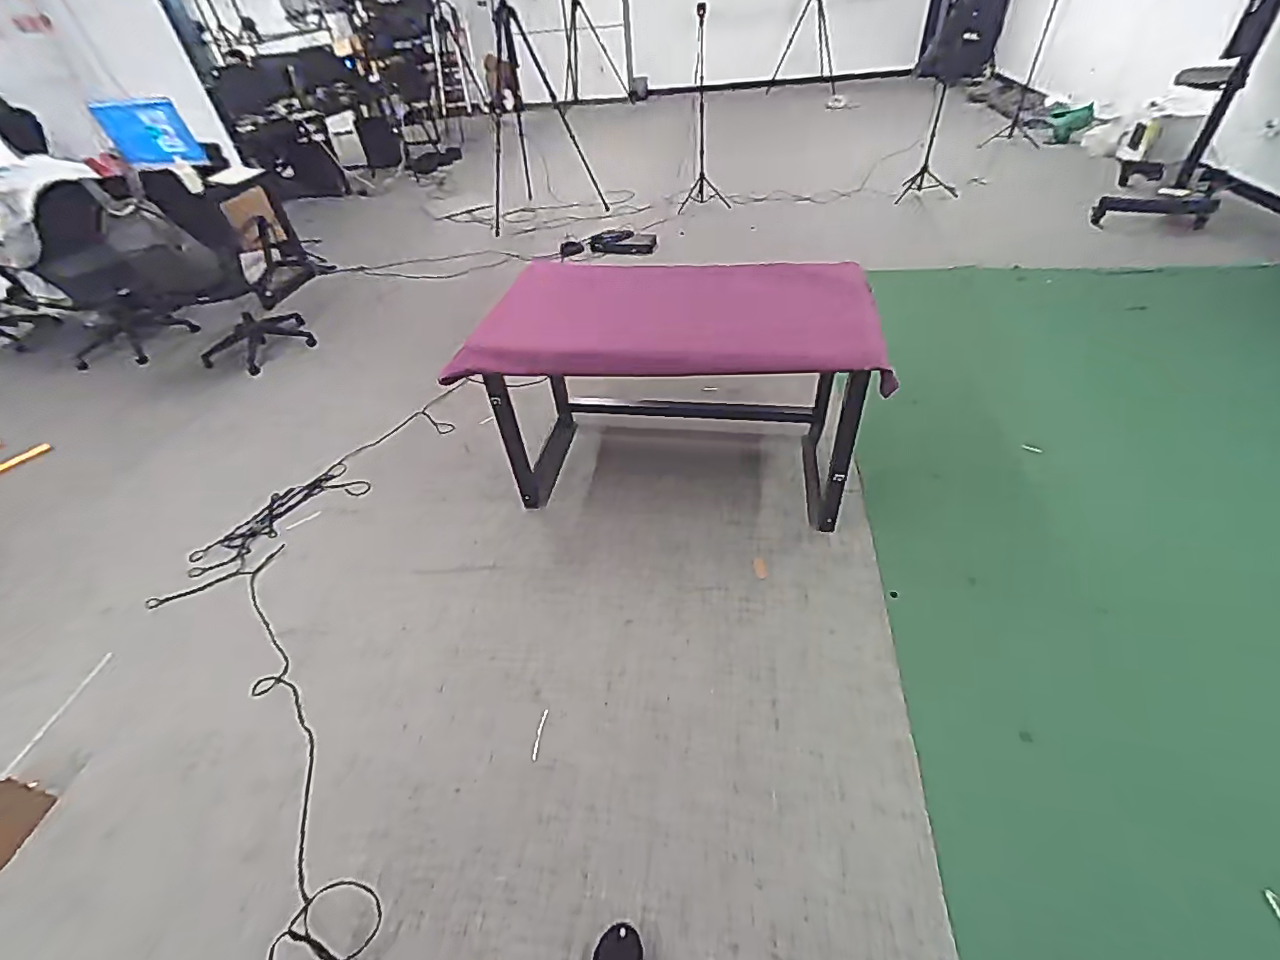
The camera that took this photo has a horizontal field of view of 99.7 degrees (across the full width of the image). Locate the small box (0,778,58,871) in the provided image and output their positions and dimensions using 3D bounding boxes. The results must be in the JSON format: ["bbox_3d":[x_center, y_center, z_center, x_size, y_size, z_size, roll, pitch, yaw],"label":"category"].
[{"bbox_3d":[-1.685,0.879,1.384,0.168,0.176,0.179,1,43,8],"label":"small box"}]
